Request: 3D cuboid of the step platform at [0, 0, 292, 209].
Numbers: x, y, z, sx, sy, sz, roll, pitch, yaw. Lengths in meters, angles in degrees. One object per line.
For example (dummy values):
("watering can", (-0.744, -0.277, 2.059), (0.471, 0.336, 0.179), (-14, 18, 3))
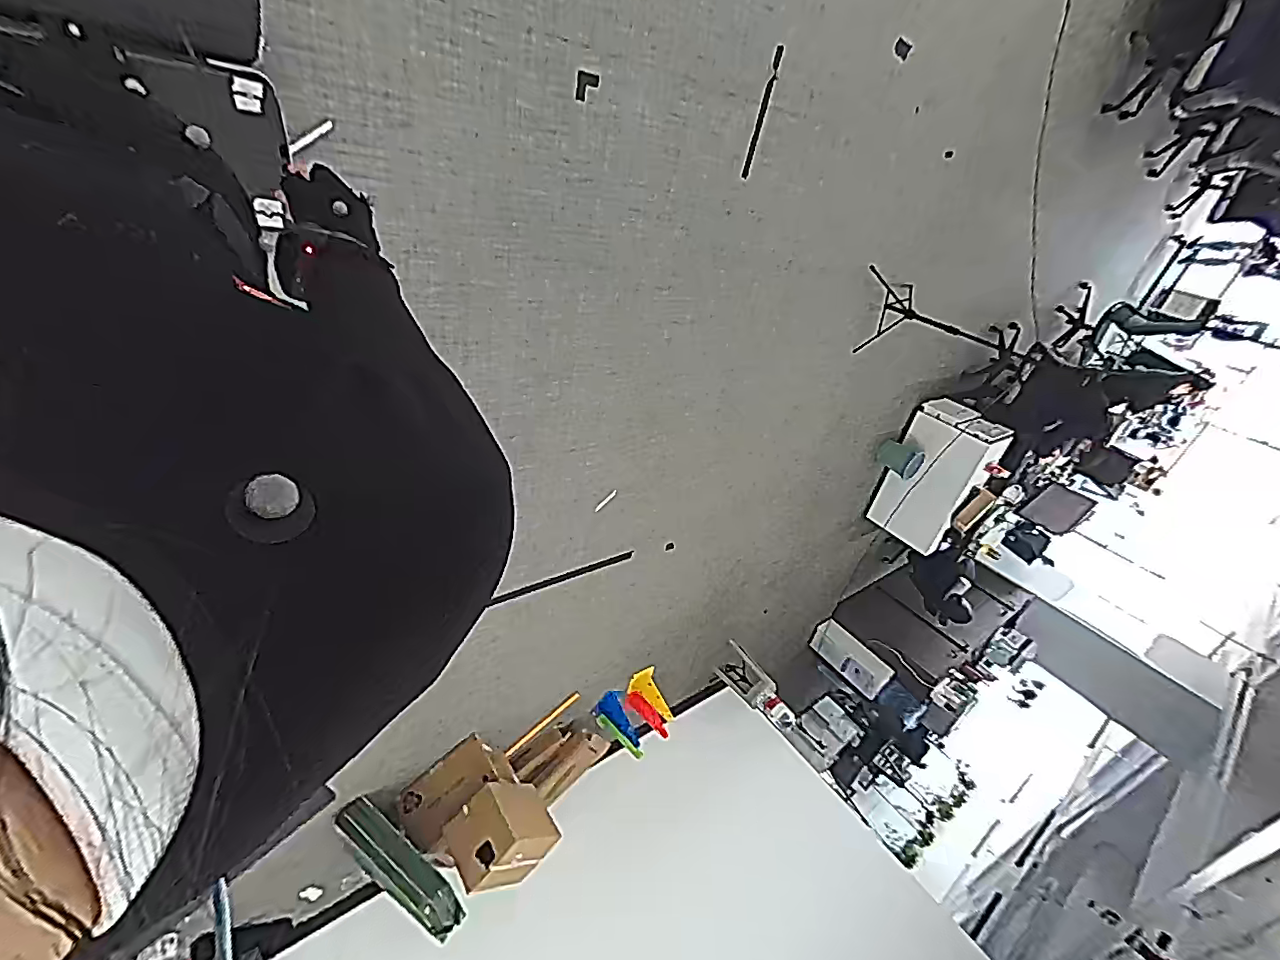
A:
("step platform", (-1.010, -0.661, 0.937), (0.684, 0.204, 0.286), (-13, 130, -35))
